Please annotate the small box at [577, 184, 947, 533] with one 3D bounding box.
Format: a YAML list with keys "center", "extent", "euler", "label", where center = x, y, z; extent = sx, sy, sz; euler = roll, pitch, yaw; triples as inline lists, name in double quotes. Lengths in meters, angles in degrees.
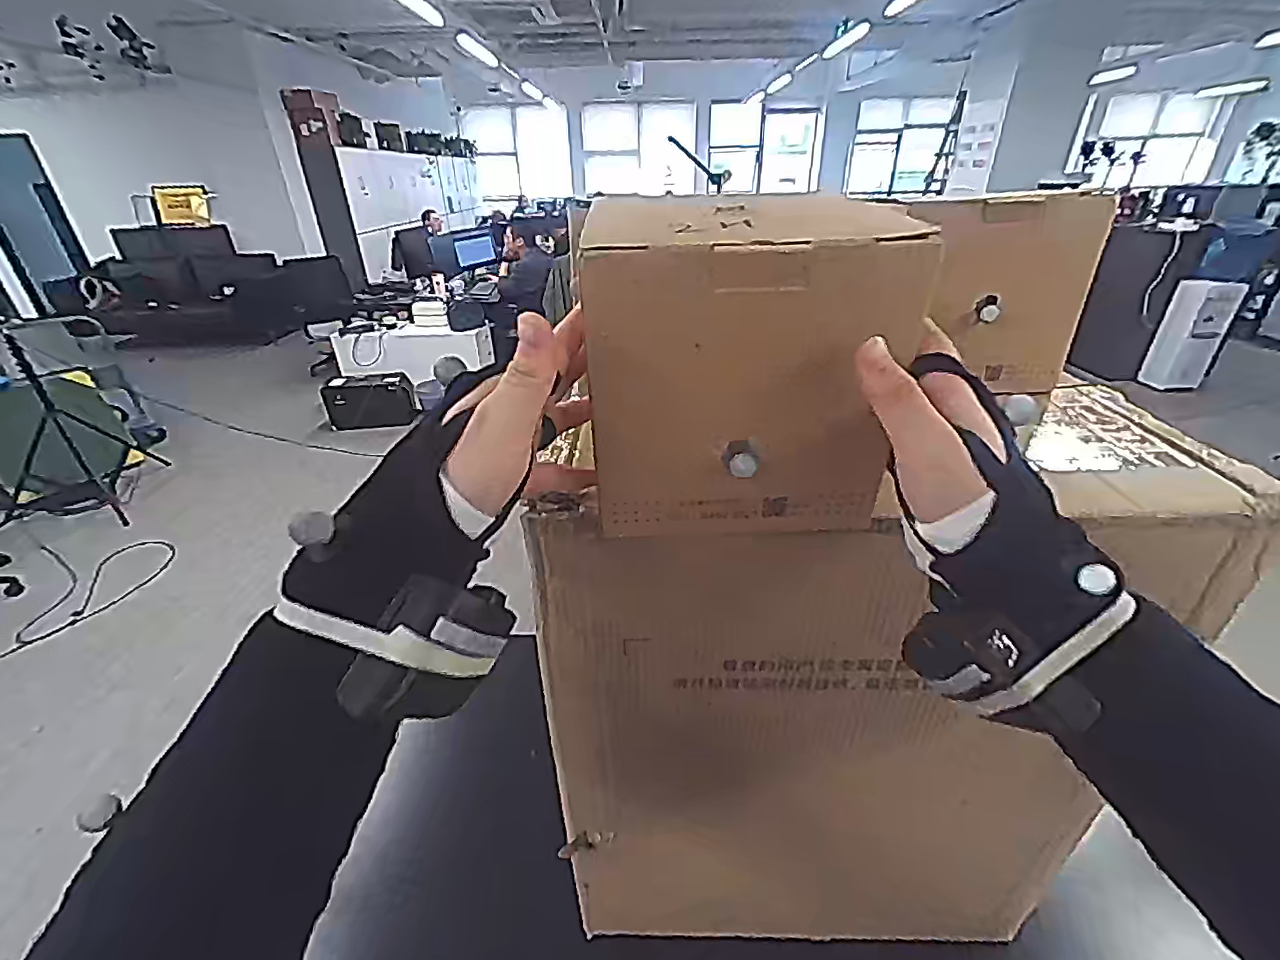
- center: [0.054, -0.084, 0.349]
  extent: [0.168, 0.176, 0.179]
  euler: [-3, 35, 0]
  label: "small box"

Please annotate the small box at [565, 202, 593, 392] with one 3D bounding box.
- center: [0.027, -0.186, 0.545]
  extent: [0.179, 0.176, 0.168]
  euler: [1, 28, 1]
  label: "small box"
